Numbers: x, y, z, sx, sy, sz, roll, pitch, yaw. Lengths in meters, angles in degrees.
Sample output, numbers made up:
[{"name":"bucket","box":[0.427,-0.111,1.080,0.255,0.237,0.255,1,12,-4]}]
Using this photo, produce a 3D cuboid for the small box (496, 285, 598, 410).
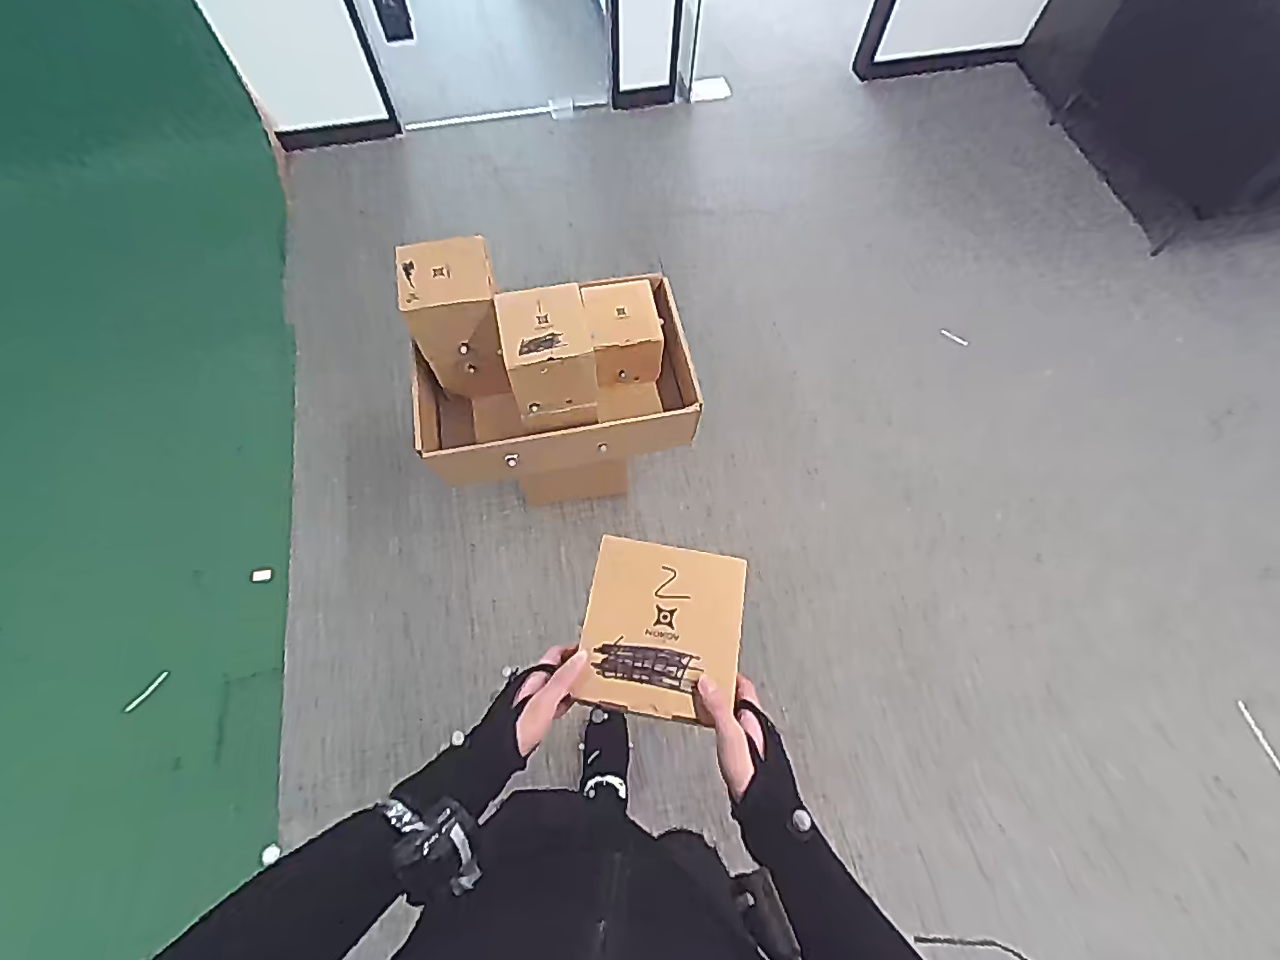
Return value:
[{"name":"small box","box":[-0.181,-0.255,1.082,0.168,0.176,0.179,-11,66,-7]}]

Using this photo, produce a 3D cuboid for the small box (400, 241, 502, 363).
[{"name":"small box","box":[-0.382,-0.366,1.126,0.179,0.176,0.168,-10,67,-7]}]
